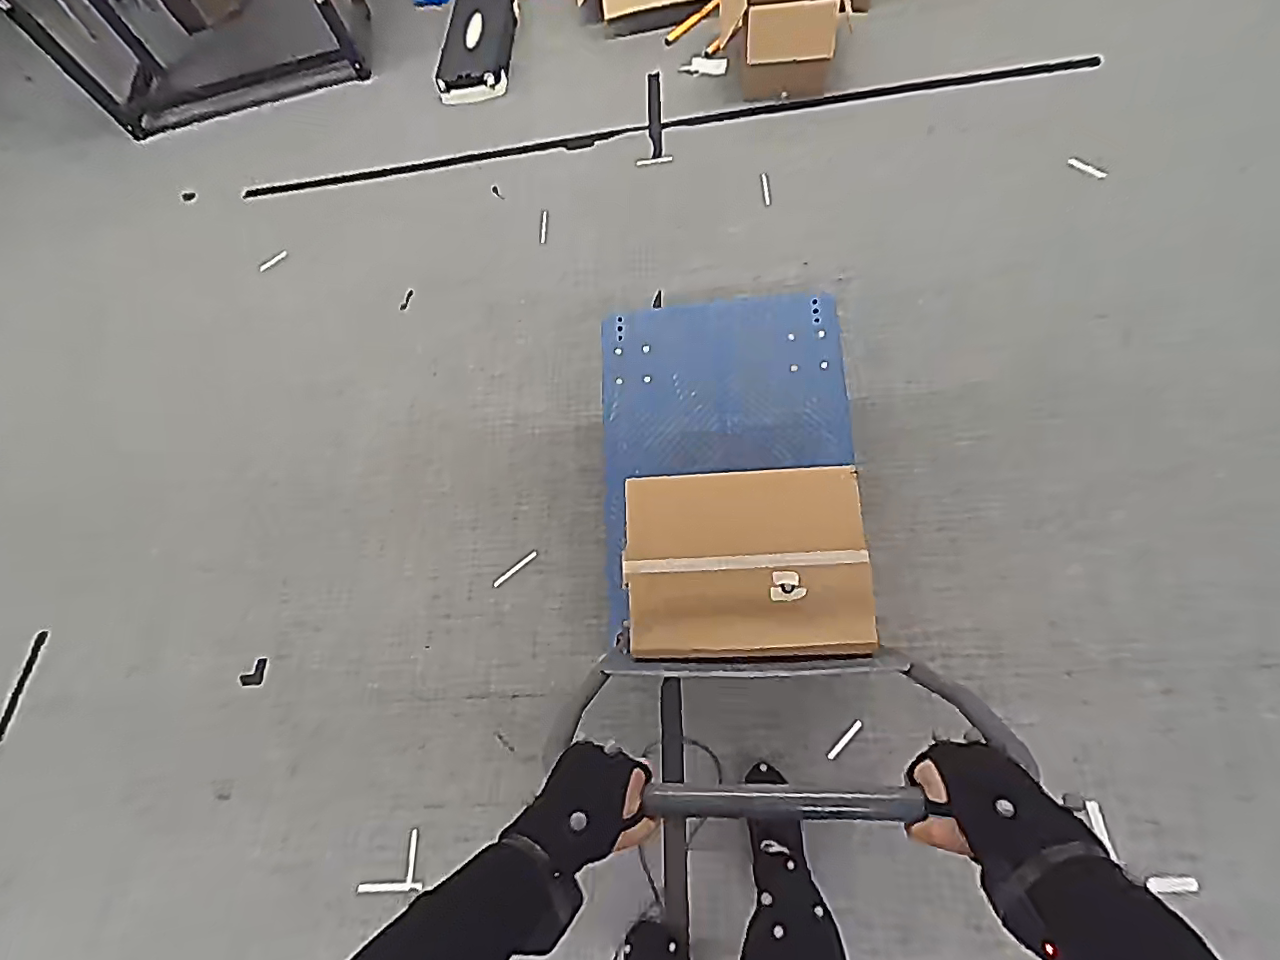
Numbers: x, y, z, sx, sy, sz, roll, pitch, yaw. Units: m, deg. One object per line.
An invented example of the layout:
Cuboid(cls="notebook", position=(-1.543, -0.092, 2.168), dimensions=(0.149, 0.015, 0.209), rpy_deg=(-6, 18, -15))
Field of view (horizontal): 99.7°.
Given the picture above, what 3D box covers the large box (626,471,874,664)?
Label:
Cuboid(cls="large box", position=(0.195, 0.181, 1.082), dimensions=(0.408, 0.320, 0.320), rpy_deg=(-4, 78, 5))
